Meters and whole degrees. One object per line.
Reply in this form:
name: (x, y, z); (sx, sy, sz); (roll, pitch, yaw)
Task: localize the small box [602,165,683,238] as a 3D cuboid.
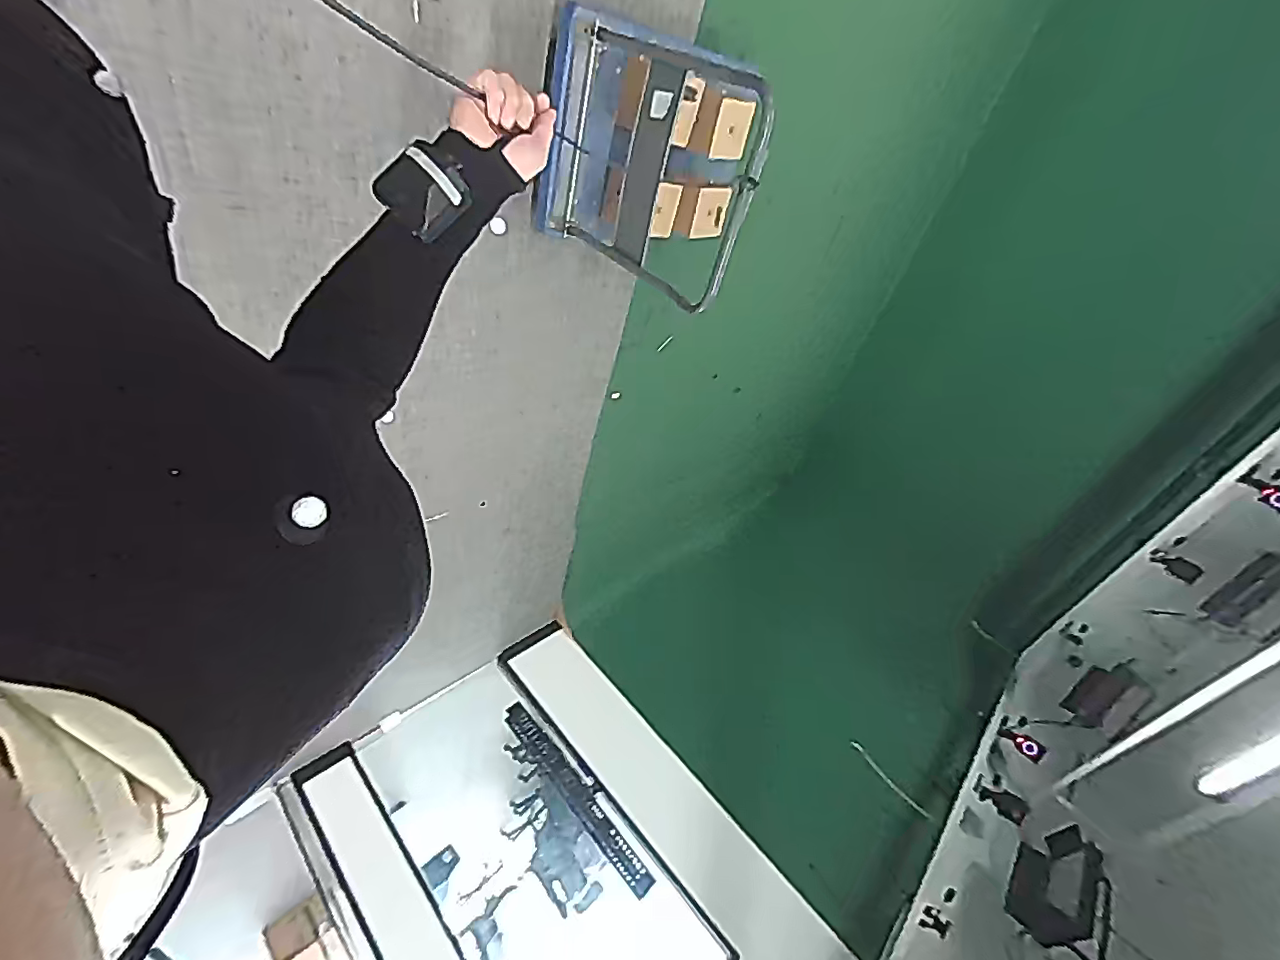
small box: (0.006, -0.906, 1.761); (0.179, 0.176, 0.168); (-20, 140, -41)

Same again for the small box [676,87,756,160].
small box: (0.243, -1.170, 1.776); (0.179, 0.176, 0.168); (-25, 144, -38)

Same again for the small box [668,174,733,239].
small box: (0.196, -0.982, 1.937); (0.179, 0.176, 0.168); (-24, 142, -37)
